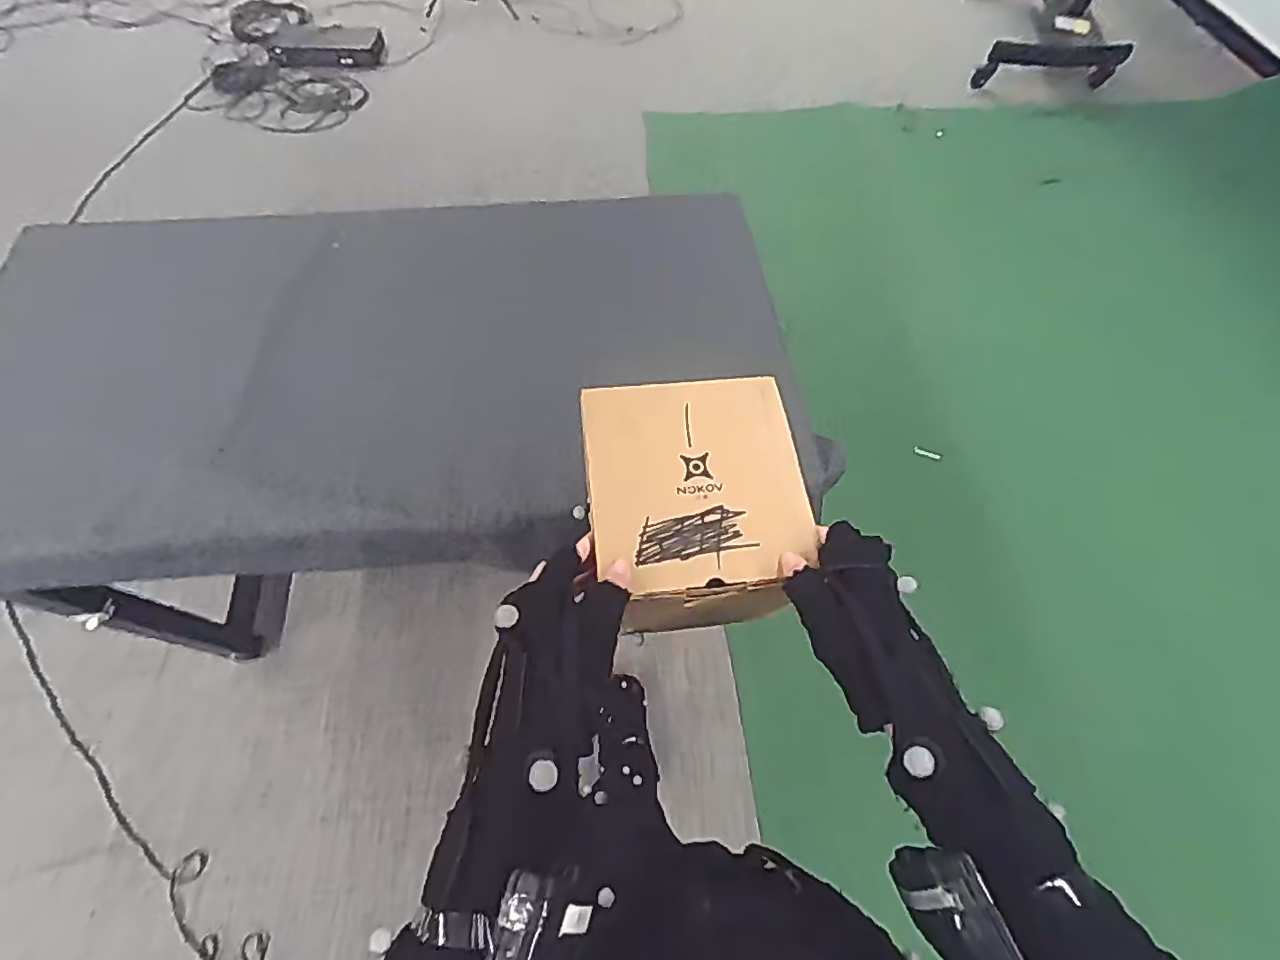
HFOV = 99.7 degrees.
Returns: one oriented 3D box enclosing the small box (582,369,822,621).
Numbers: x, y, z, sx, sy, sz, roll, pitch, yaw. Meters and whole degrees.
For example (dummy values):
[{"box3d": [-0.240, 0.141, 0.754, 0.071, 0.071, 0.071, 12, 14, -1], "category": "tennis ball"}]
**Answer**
[{"box3d": [0.039, 0.024, 0.487, 0.168, 0.176, 0.179, -5, 65, -6], "category": "small box"}]
